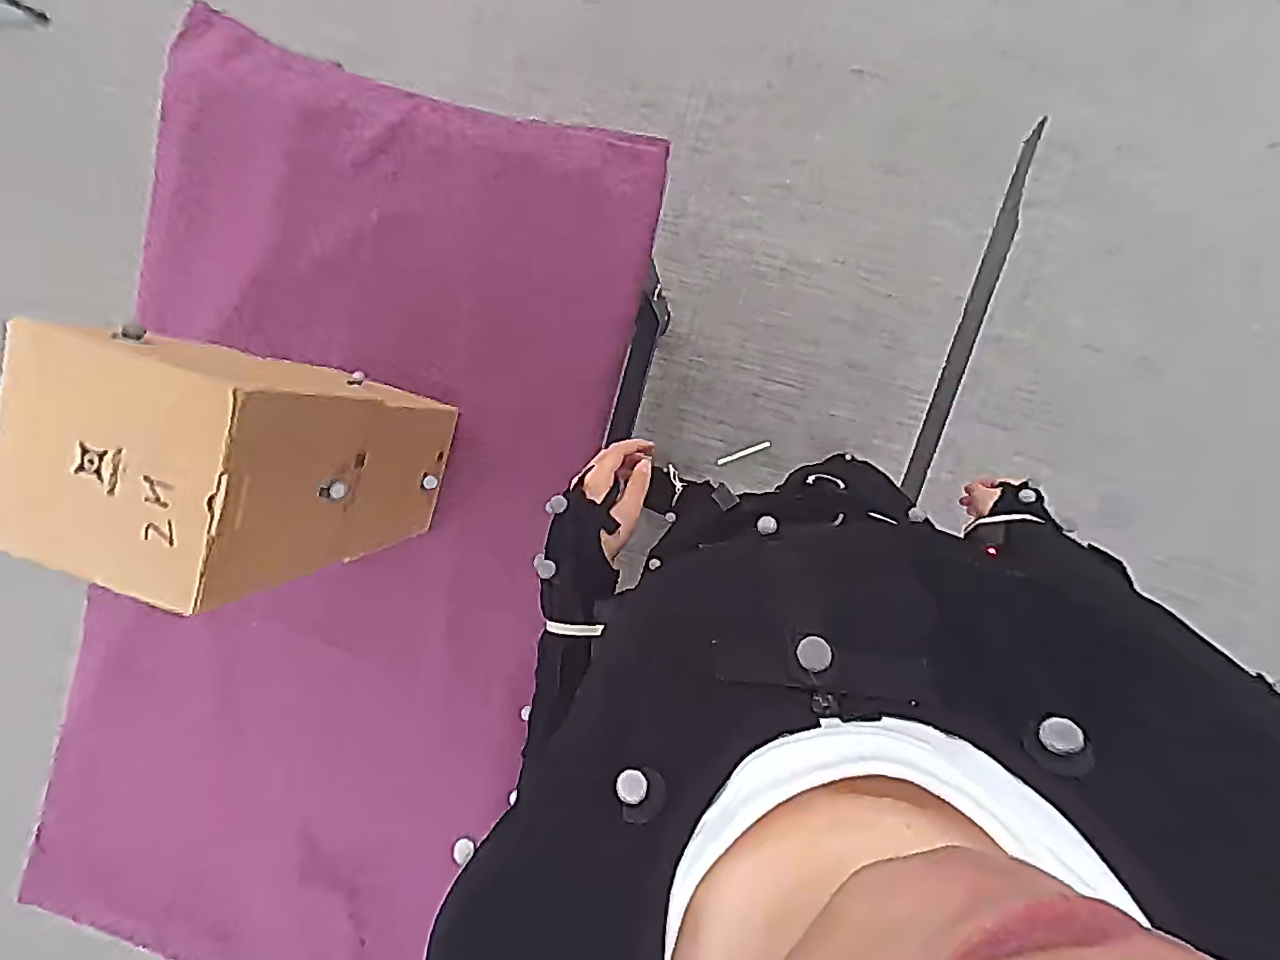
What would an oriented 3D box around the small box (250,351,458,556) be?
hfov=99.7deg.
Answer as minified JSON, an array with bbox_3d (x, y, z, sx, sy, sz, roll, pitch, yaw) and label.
[{"bbox_3d":[-0.338,-0.032,0.610,0.179,0.176,0.168,18,97,4],"label":"small box"}]

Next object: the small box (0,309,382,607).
[{"bbox_3d":[-0.354,-0.021,0.446,0.179,0.176,0.168,18,98,4],"label":"small box"}]
